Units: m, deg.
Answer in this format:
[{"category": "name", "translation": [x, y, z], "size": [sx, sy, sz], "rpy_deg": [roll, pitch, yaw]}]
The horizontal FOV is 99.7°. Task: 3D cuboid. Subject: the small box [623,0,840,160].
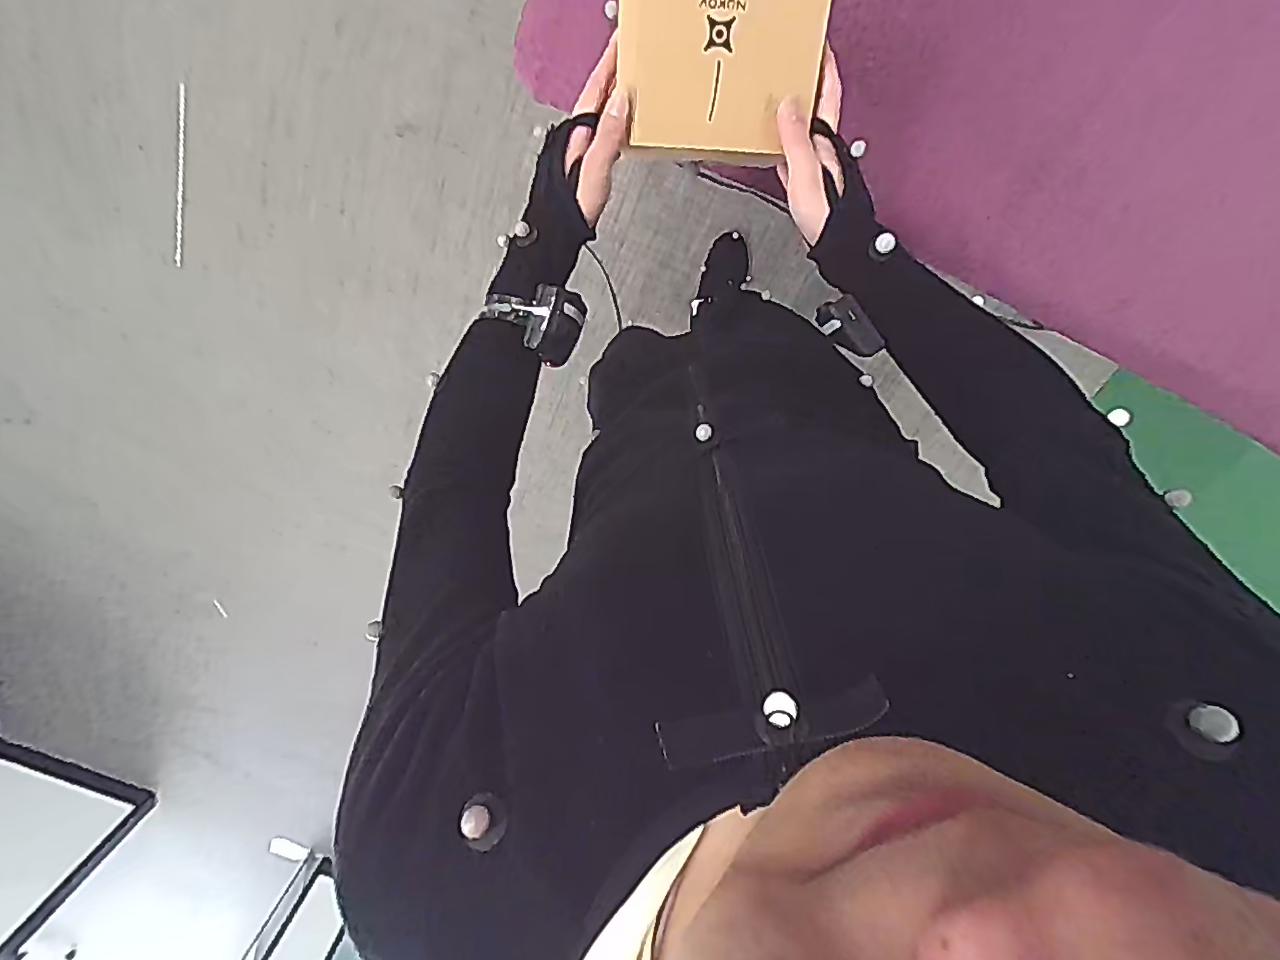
[{"category": "small box", "translation": [0.072, -0.400, 0.487], "size": [0.168, 0.176, 0.179], "rpy_deg": [3, 118, -1]}]
